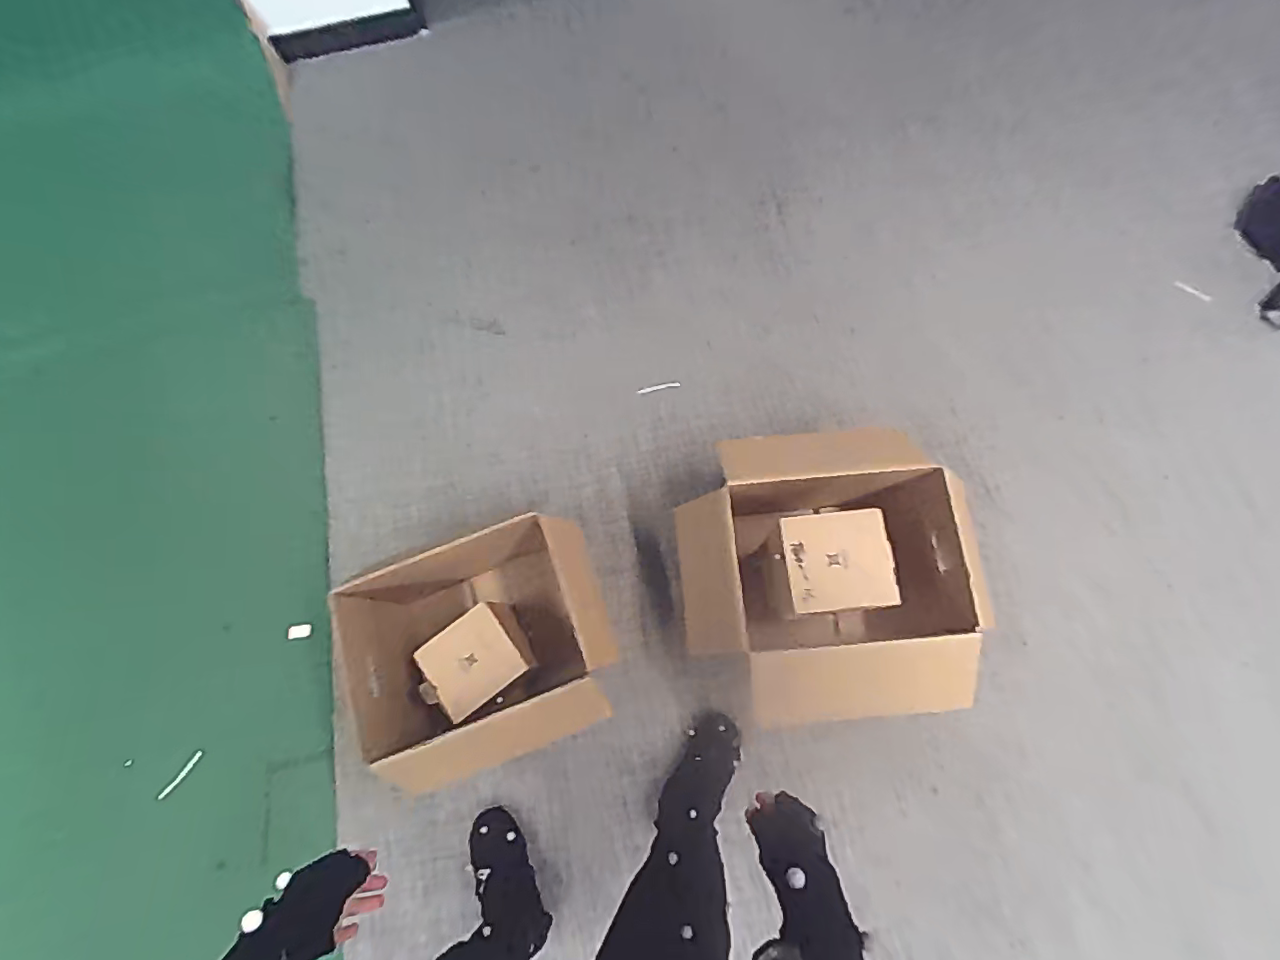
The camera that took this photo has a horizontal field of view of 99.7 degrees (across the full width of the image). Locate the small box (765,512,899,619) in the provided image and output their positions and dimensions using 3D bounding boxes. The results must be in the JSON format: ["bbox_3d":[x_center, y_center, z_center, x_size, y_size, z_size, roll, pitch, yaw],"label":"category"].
[{"bbox_3d":[0.343,0.163,1.001,0.179,0.176,0.168,-7,72,2],"label":"small box"}]
